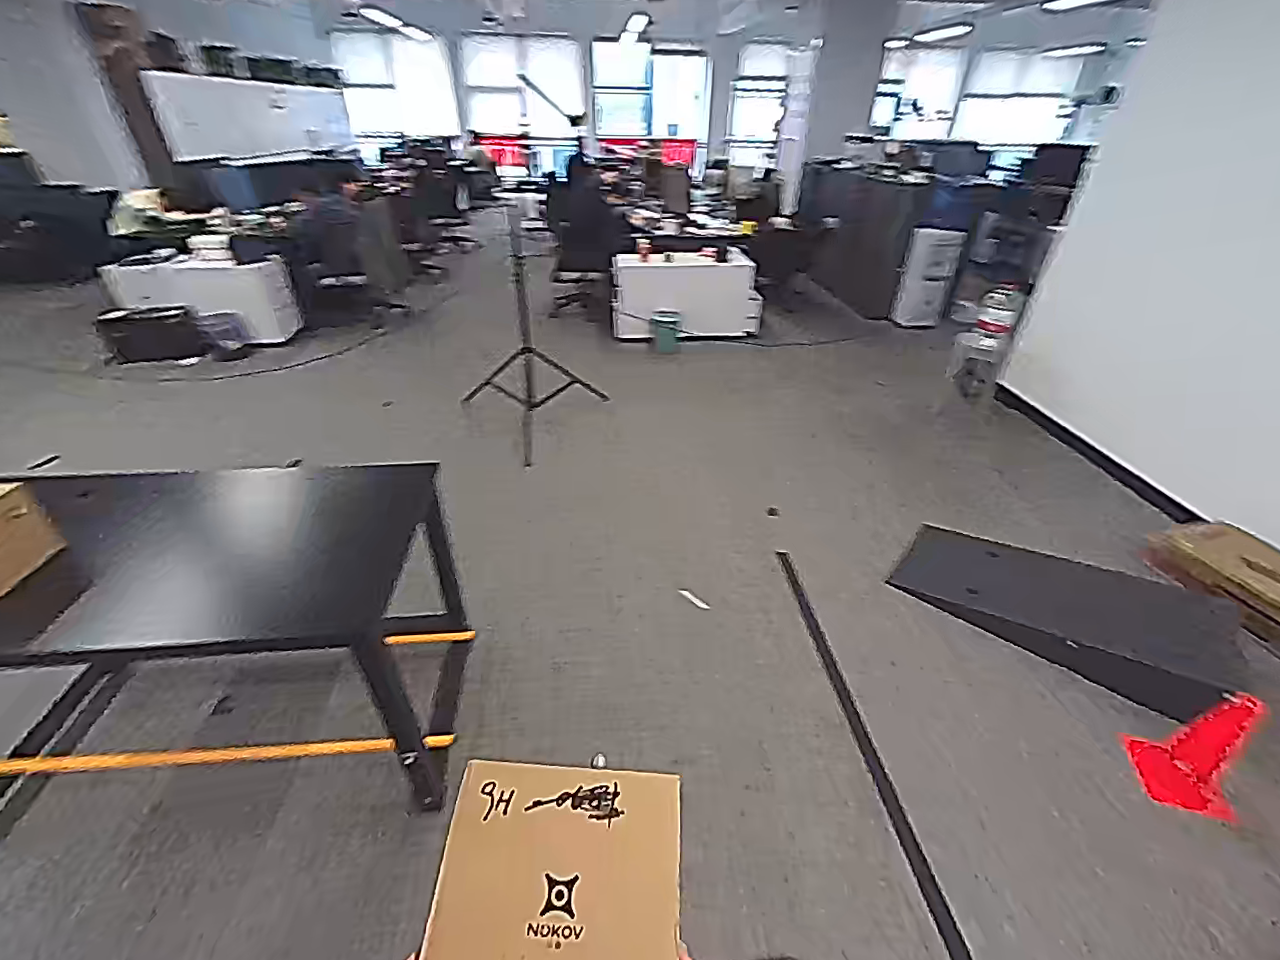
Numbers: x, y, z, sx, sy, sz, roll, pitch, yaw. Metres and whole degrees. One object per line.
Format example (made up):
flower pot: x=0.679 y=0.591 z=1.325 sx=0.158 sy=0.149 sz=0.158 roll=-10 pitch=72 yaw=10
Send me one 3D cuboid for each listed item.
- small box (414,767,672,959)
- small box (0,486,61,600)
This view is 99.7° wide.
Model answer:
small box: x=-0.064 y=0.340 z=0.419 sx=0.168 sy=0.176 sz=0.179 roll=3 pitch=51 yaw=-1
small box: x=-1.350 y=0.129 z=1.094 sx=0.168 sy=0.176 sz=0.179 roll=-1 pitch=34 yaw=-3
